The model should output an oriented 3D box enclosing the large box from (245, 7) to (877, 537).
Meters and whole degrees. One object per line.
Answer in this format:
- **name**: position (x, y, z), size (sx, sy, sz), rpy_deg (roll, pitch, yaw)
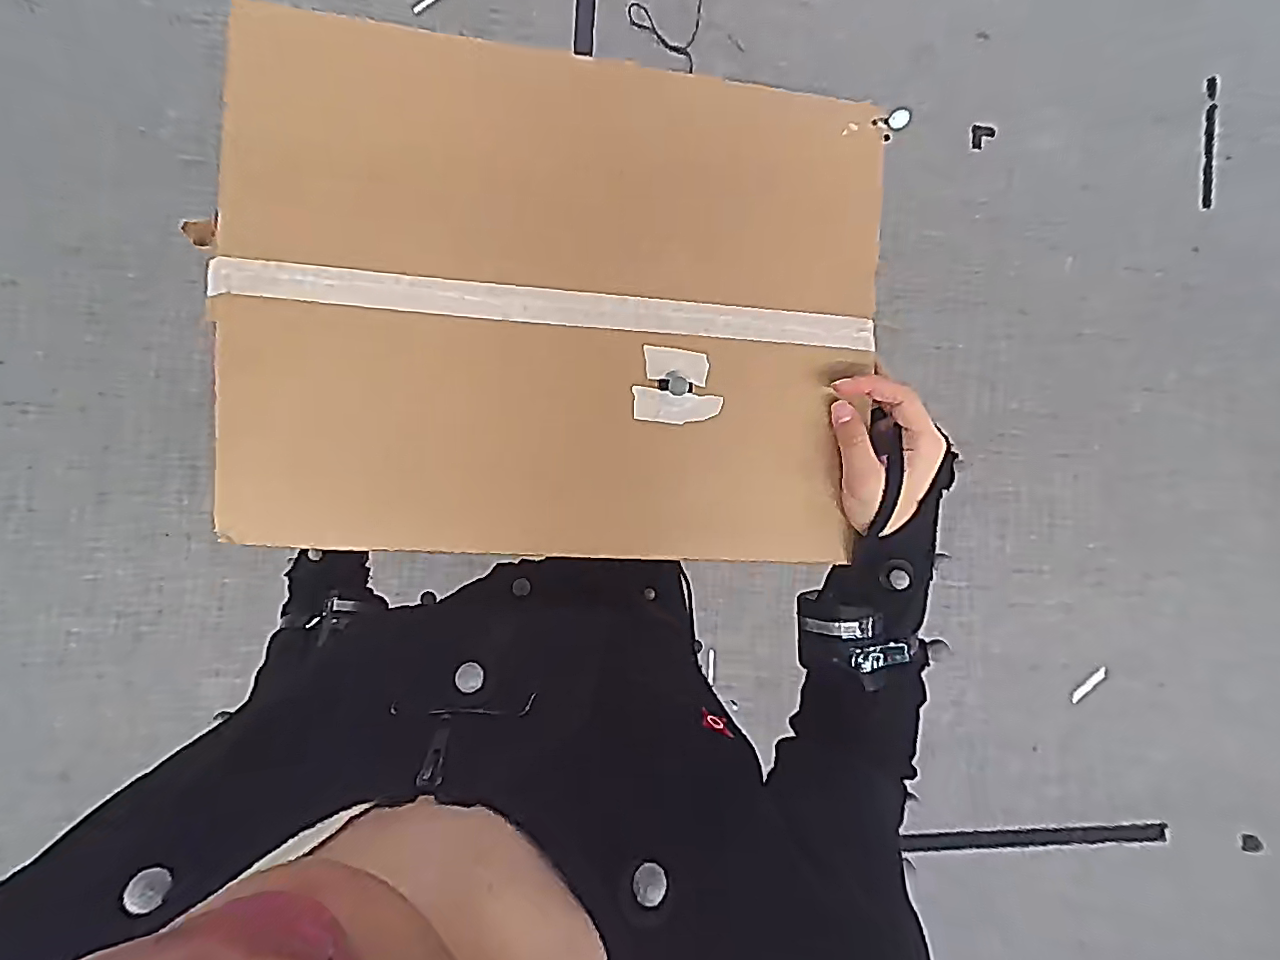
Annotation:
- **large box**: position (-0.061, -0.123, 0.497), size (0.408, 0.320, 0.320), rpy_deg (3, 92, -10)
